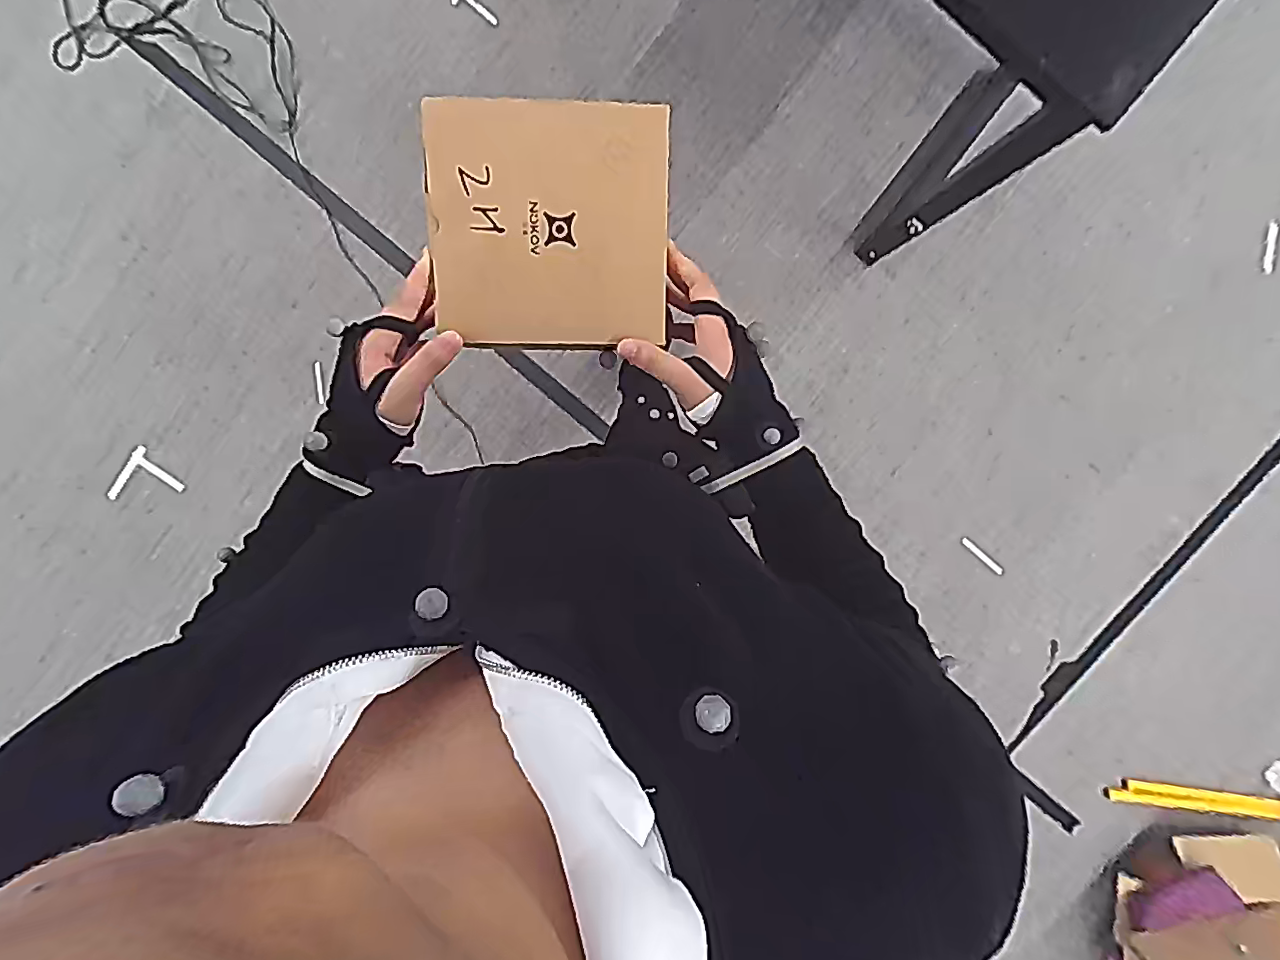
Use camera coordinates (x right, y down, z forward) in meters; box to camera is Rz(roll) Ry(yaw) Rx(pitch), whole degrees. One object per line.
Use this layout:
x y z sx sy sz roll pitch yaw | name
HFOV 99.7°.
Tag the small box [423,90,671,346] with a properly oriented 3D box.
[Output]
-0.070 -0.206 0.473 0.179 0.176 0.168 0 102 -2 | small box
